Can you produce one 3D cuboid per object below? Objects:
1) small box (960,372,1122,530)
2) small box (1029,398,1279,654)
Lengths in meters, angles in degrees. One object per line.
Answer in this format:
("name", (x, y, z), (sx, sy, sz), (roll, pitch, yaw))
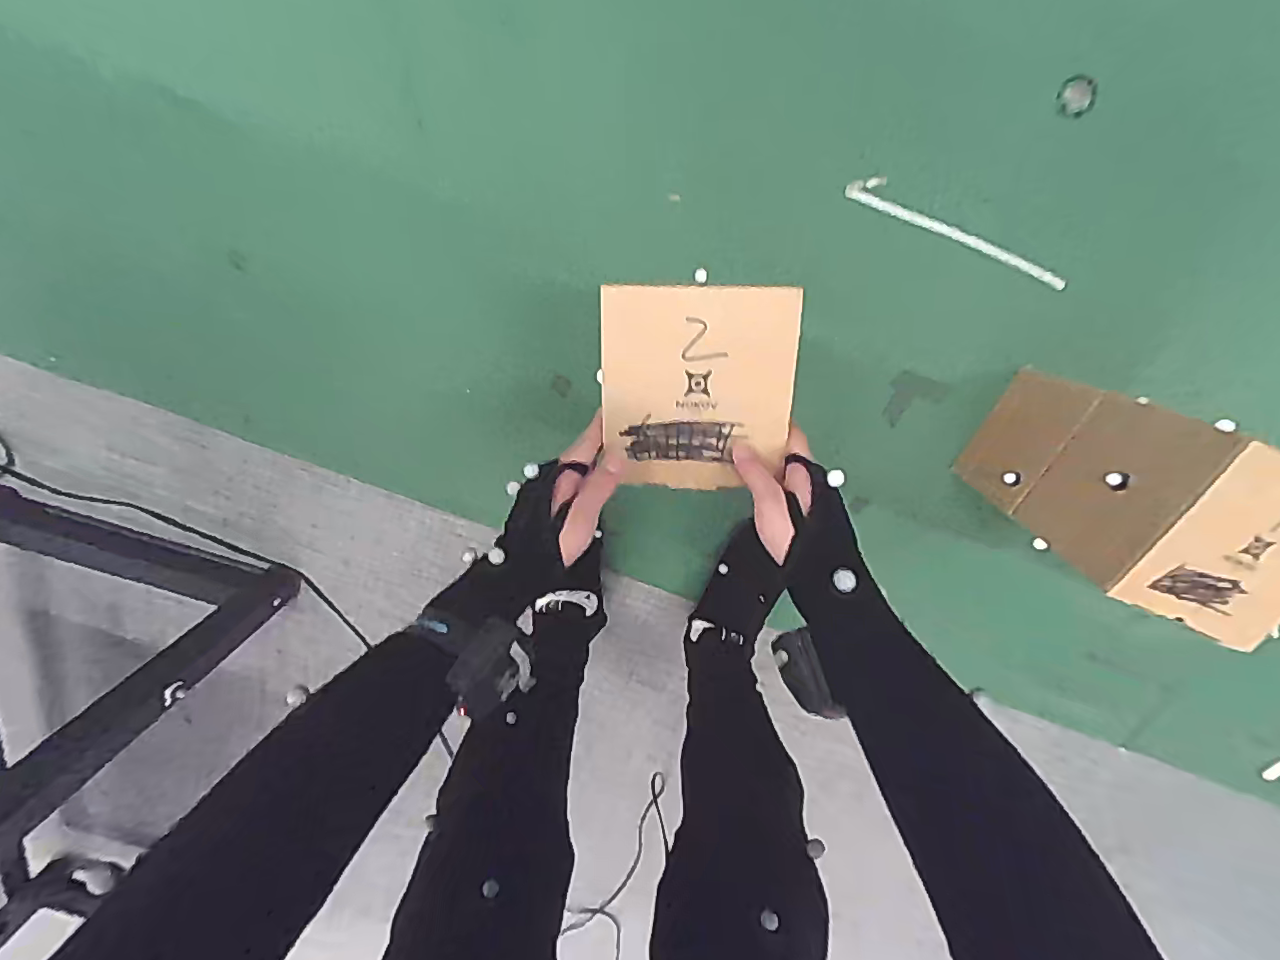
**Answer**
("small box", (0.571, -0.025, 0.716), (0.168, 0.176, 0.179), (22, 113, -5))
("small box", (0.559, 0.038, 0.565), (0.168, 0.176, 0.179), (23, 112, -6))
